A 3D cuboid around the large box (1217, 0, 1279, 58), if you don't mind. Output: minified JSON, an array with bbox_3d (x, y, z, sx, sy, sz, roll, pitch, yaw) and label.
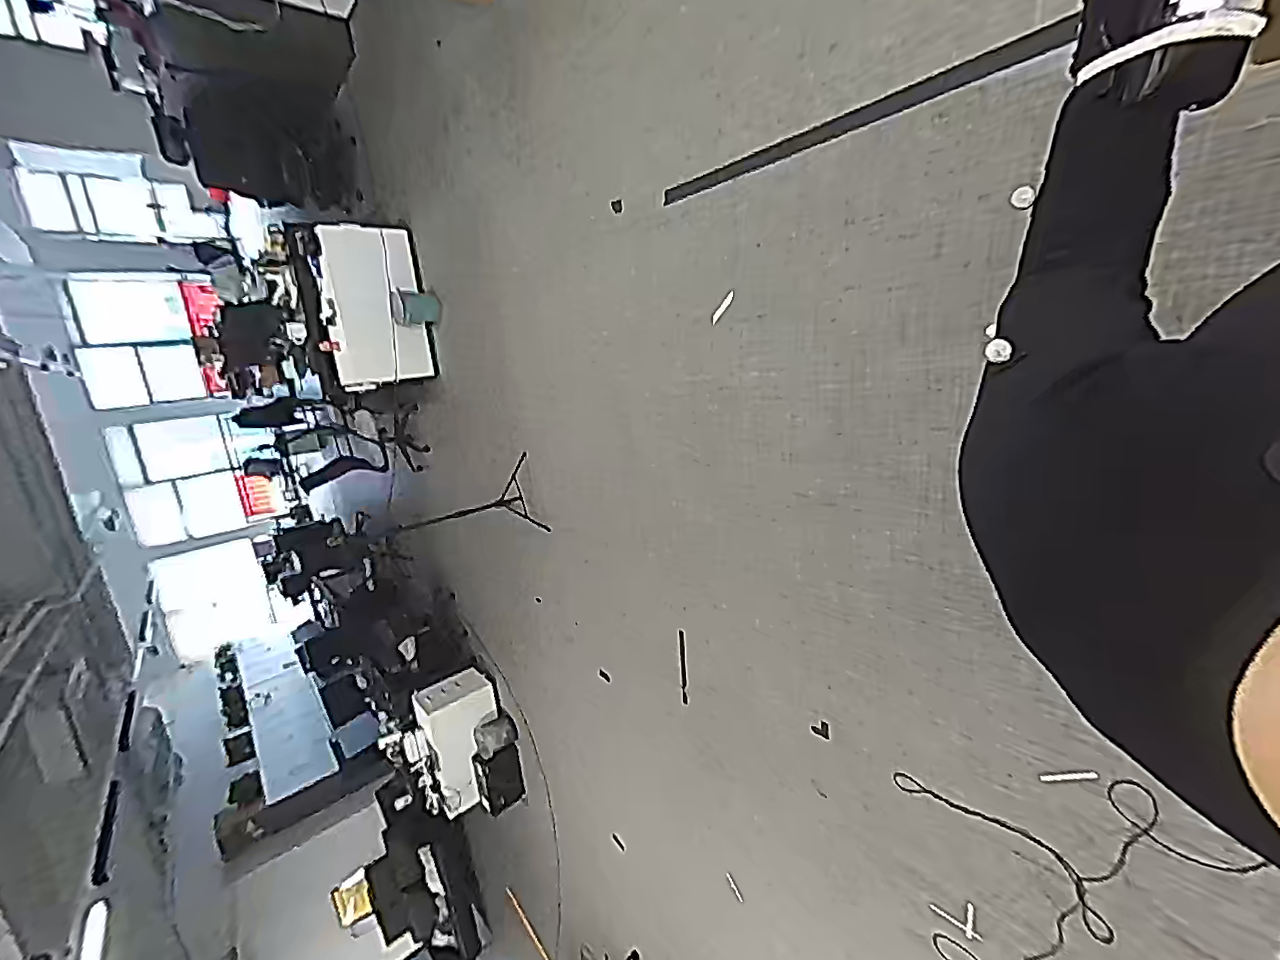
[{"bbox_3d":[0.588,-0.470,0.245,0.408,0.320,0.320,15,121,48],"label":"large box"}]
